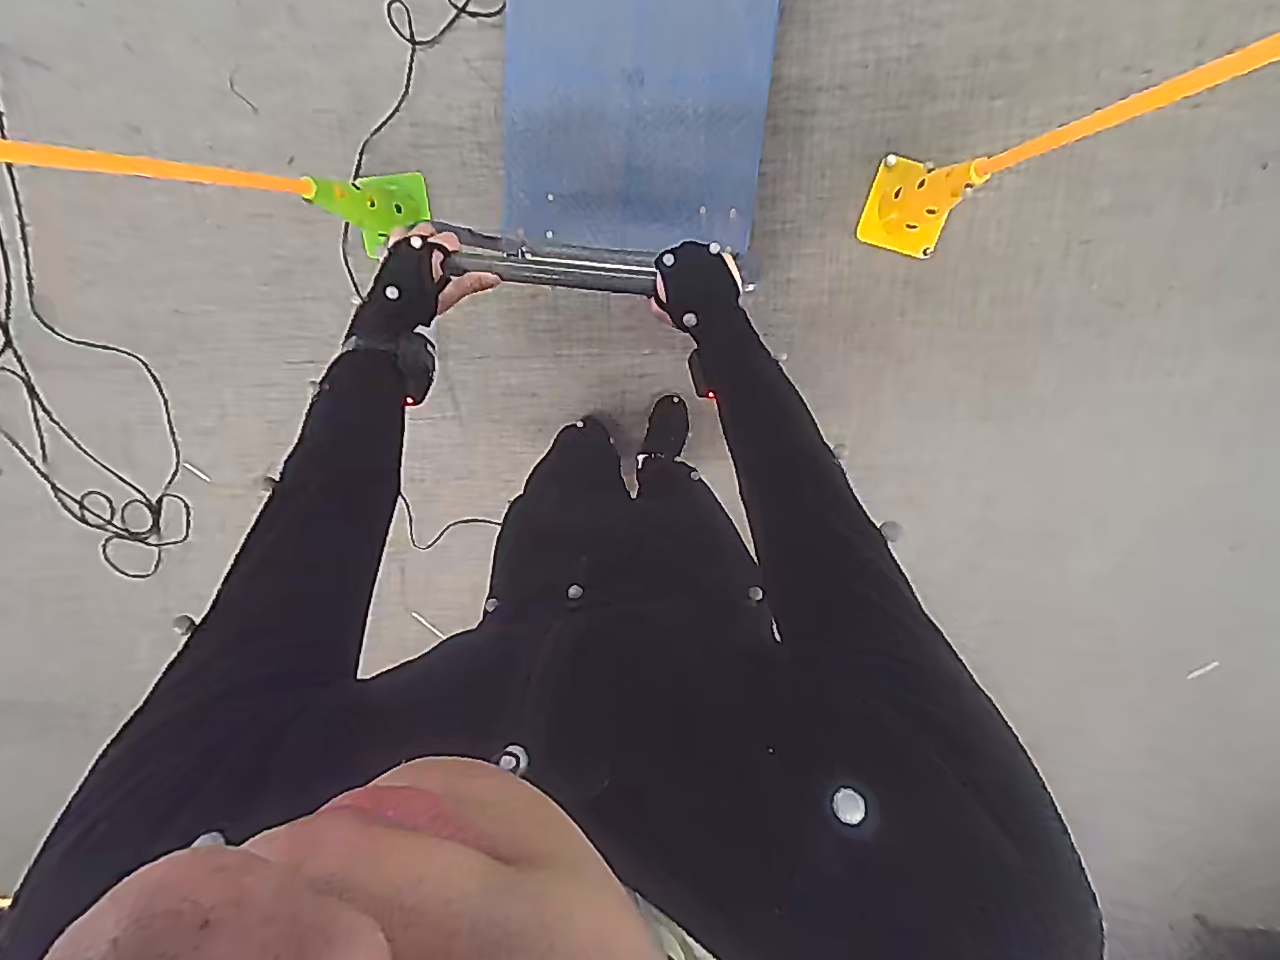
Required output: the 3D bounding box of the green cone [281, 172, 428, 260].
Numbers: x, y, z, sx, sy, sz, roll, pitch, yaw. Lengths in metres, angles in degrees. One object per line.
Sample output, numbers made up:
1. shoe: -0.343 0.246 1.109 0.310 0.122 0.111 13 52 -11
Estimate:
1. green cone: -0.688 -0.651 1.270 0.202 0.368 0.200 -3 106 8
